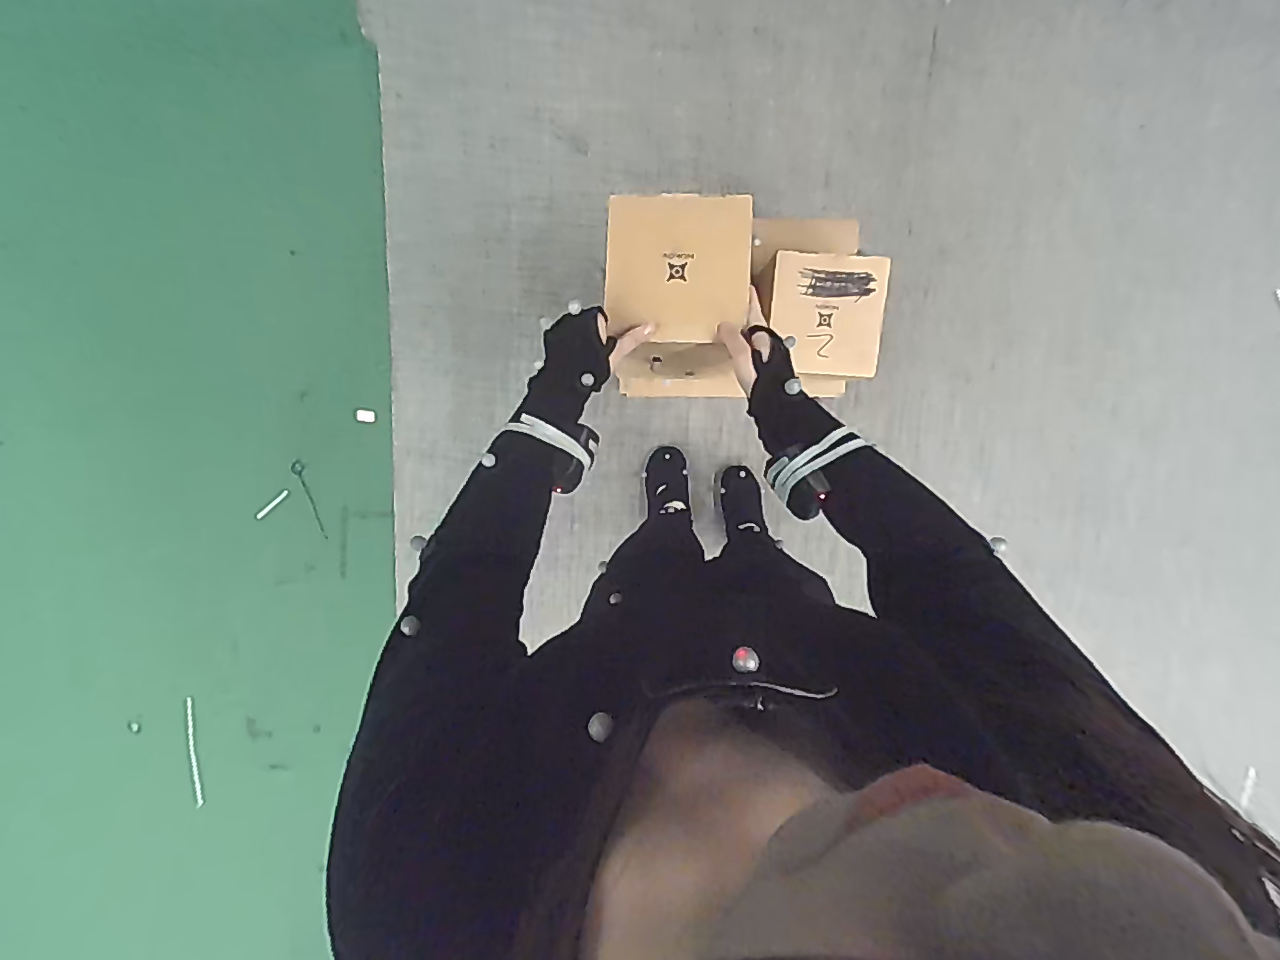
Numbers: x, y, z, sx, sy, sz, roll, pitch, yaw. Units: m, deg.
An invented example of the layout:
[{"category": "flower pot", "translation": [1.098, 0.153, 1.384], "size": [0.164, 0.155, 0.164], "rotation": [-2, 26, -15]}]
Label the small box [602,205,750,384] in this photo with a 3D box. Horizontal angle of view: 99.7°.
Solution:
[{"category": "small box", "translation": [0.048, -0.229, 0.706], "size": [0.168, 0.176, 0.179], "rotation": [2, 85, 4]}]
